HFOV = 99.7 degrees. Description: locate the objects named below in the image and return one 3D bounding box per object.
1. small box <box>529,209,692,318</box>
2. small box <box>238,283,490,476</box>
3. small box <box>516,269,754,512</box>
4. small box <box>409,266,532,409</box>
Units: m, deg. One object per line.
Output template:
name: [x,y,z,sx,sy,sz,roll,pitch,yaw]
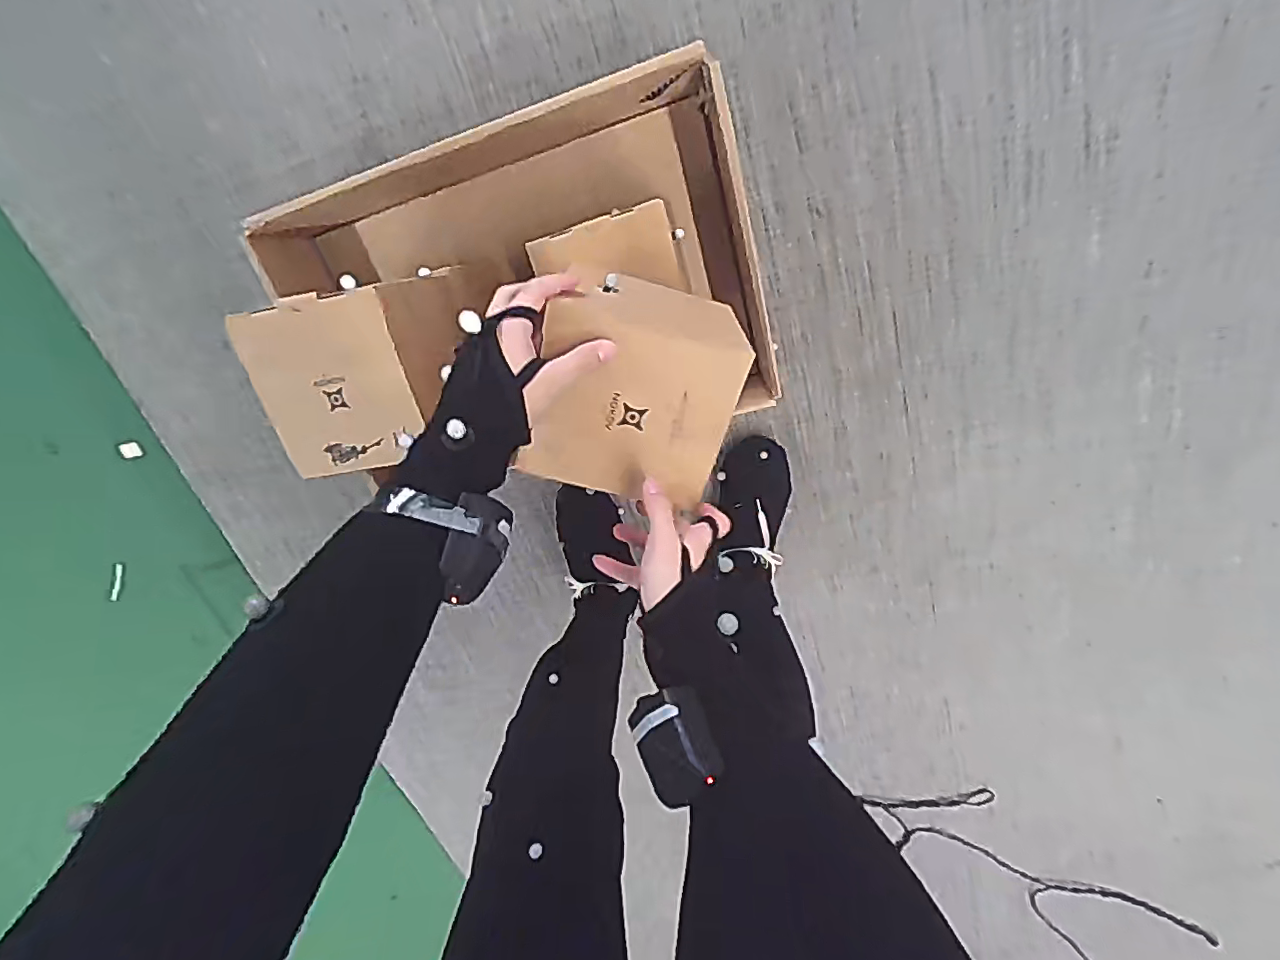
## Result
small box: [-0.022,-0.246,0.720,0.168,0.176,0.179,-13,113,12]
small box: [-0.295,-0.124,0.623,0.168,0.176,0.179,-8,113,9]
small box: [-0.007,-0.100,0.552,0.179,0.176,0.168,17,122,-9]
small box: [-0.273,-0.191,0.769,0.168,0.176,0.179,-14,112,12]
